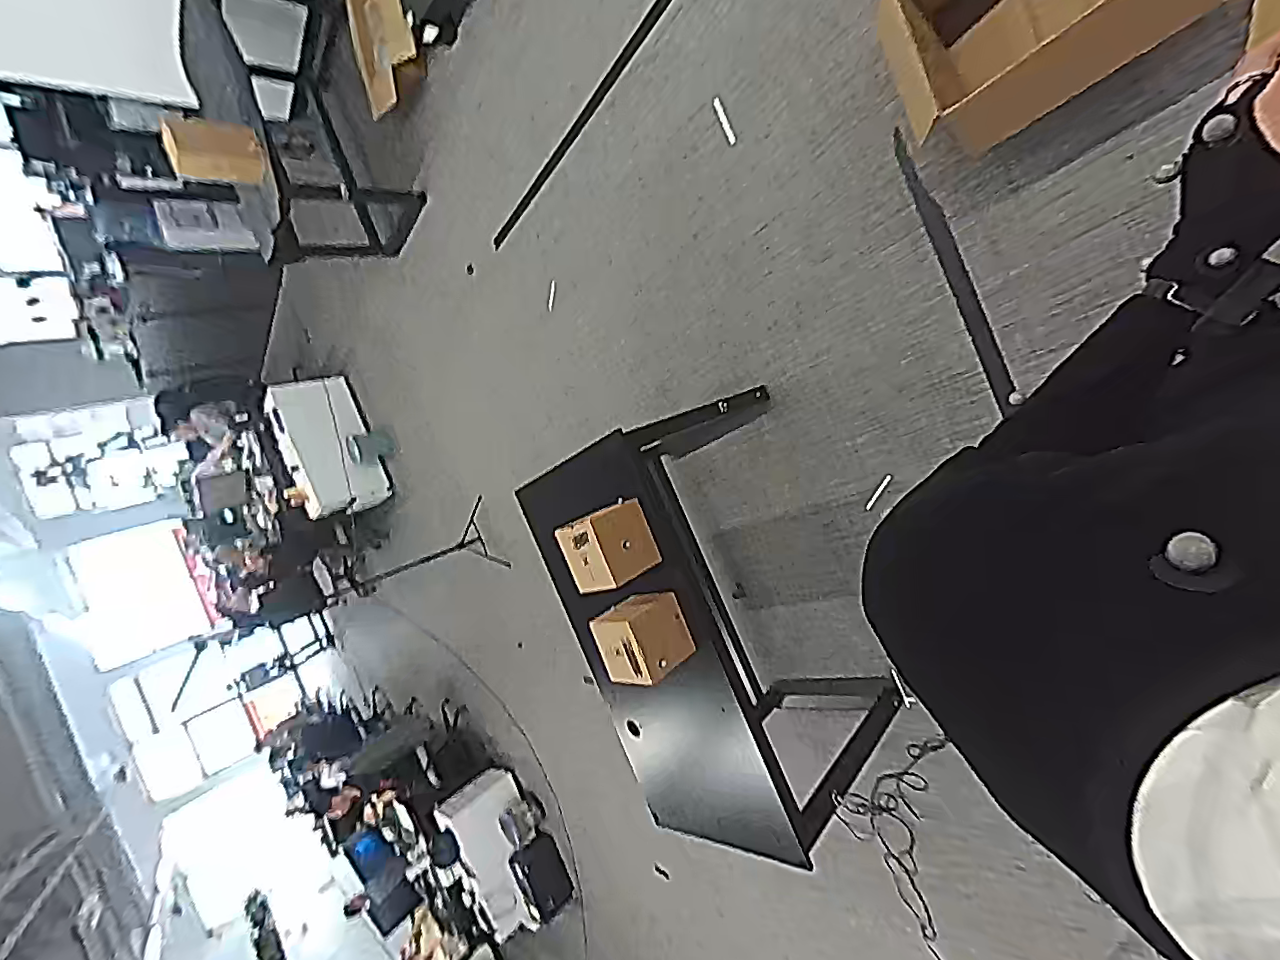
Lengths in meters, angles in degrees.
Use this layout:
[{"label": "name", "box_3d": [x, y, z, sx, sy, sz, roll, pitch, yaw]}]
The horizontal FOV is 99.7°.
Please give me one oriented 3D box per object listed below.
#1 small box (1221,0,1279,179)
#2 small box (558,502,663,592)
[{"label": "small box", "box_3d": [0.544, -0.336, 0.363, 0.168, 0.176, 0.179, 5, 100, 31]}, {"label": "small box", "box_3d": [-0.074, 0.168, 1.389, 0.168, 0.176, 0.179, -21, 93, 49]}]
